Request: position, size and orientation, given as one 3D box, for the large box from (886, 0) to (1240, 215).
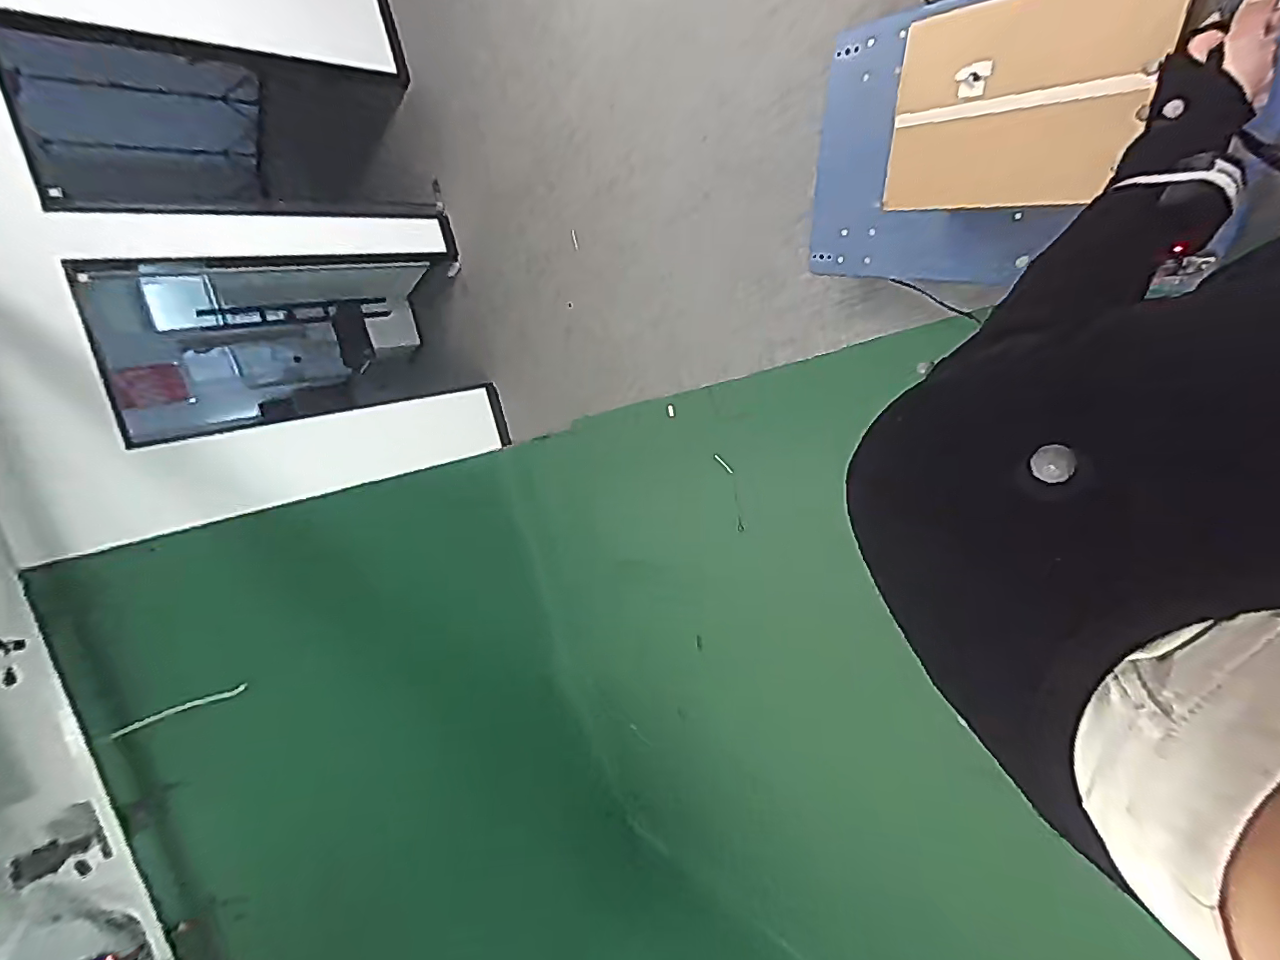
[{"bbox_3d":[0.744,-0.669,0.993,0.408,0.320,0.320,27,125,46],"label":"large box"}]
